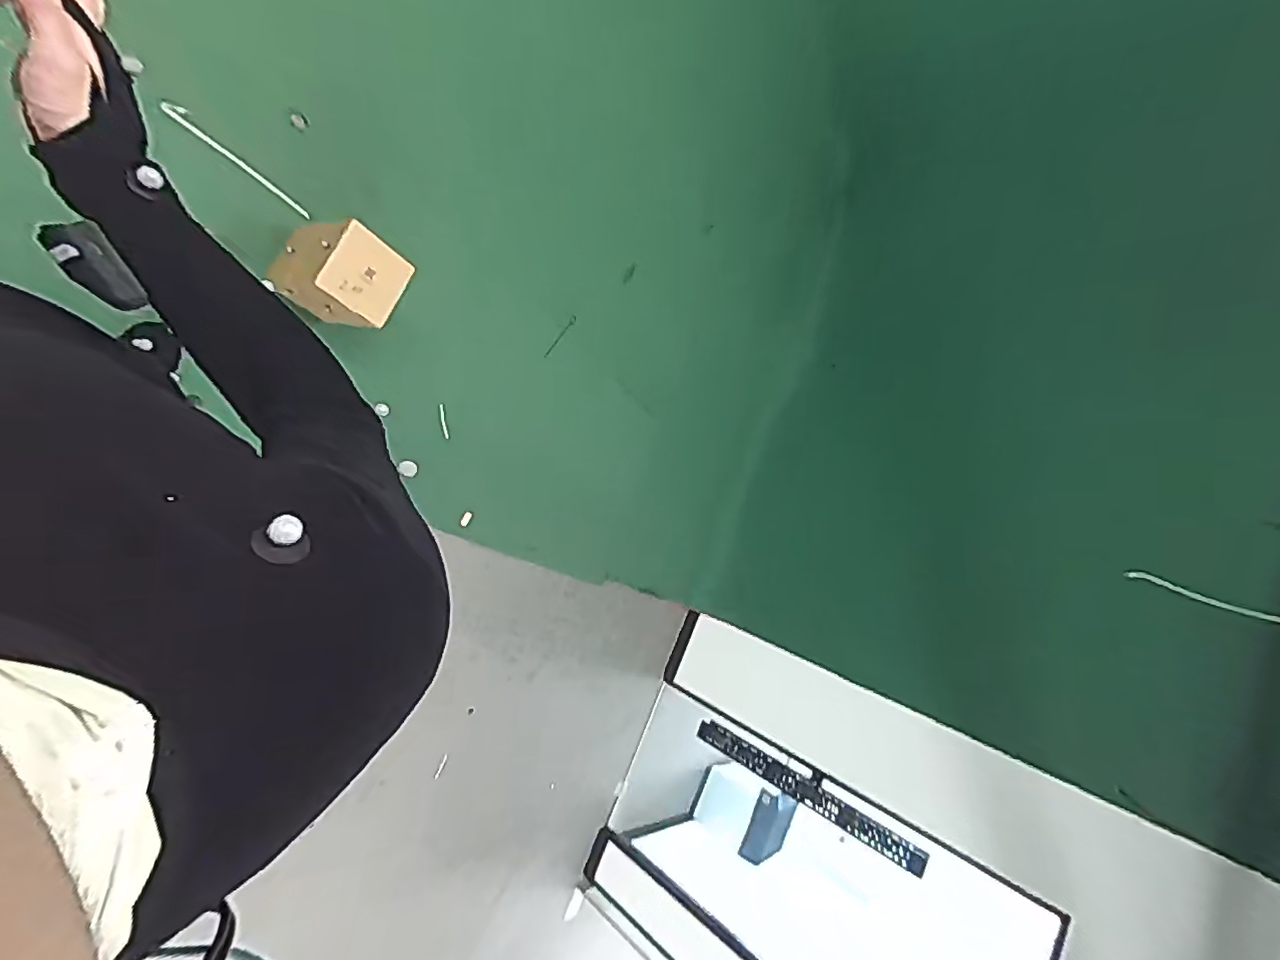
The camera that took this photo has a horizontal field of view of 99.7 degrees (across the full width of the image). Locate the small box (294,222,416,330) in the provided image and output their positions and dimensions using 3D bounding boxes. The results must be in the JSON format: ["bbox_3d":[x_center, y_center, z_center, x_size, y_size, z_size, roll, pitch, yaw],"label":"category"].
[{"bbox_3d":[-0.679,-0.481,1.282,0.168,0.176,0.179,36,75,-51],"label":"small box"}]
